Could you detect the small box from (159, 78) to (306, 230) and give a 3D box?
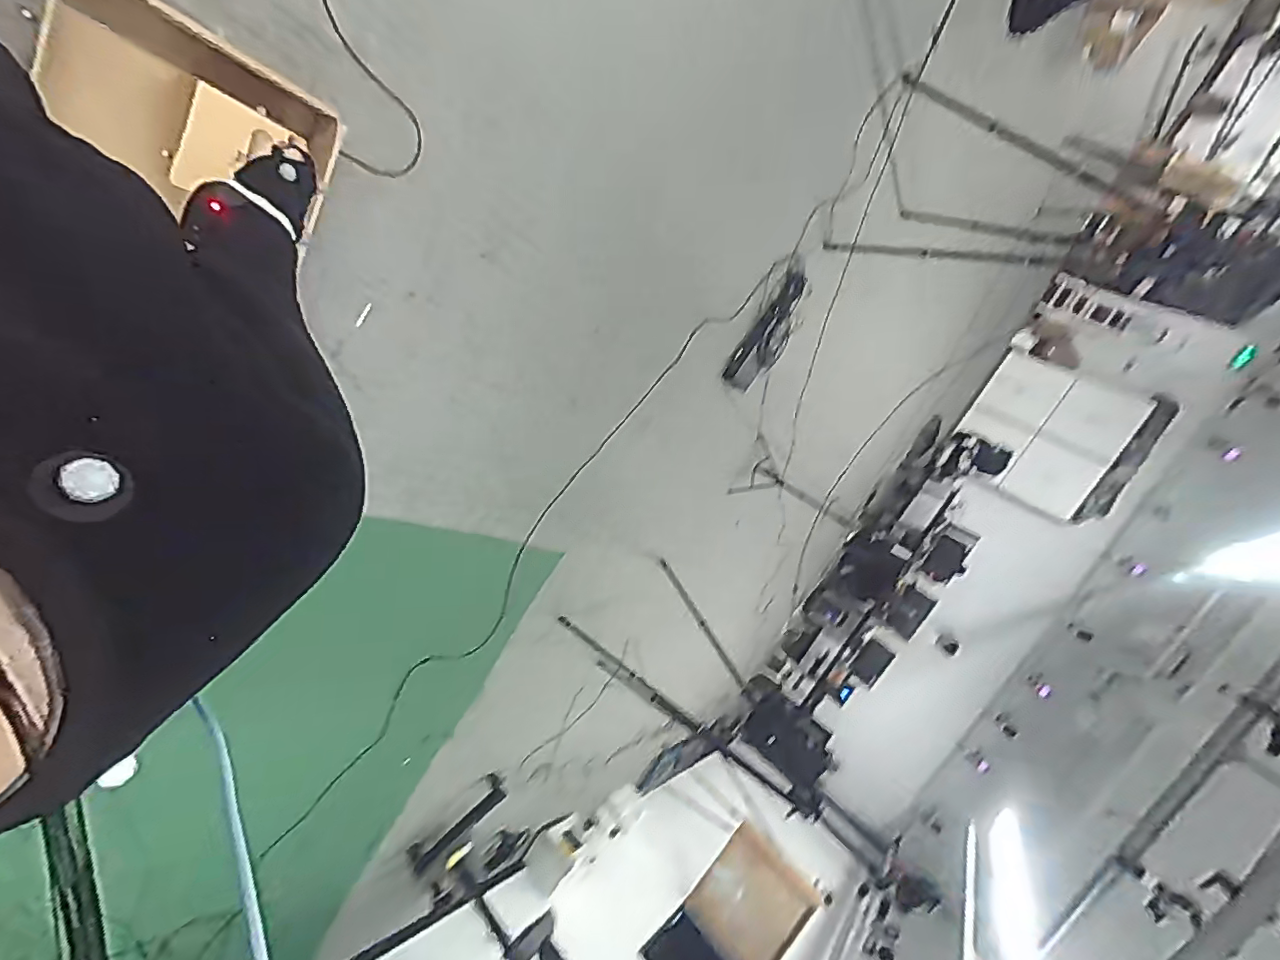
[{"bbox_3d":[-0.767,-0.611,1.014,0.168,0.176,0.179,11,113,-53],"label":"small box"}]
